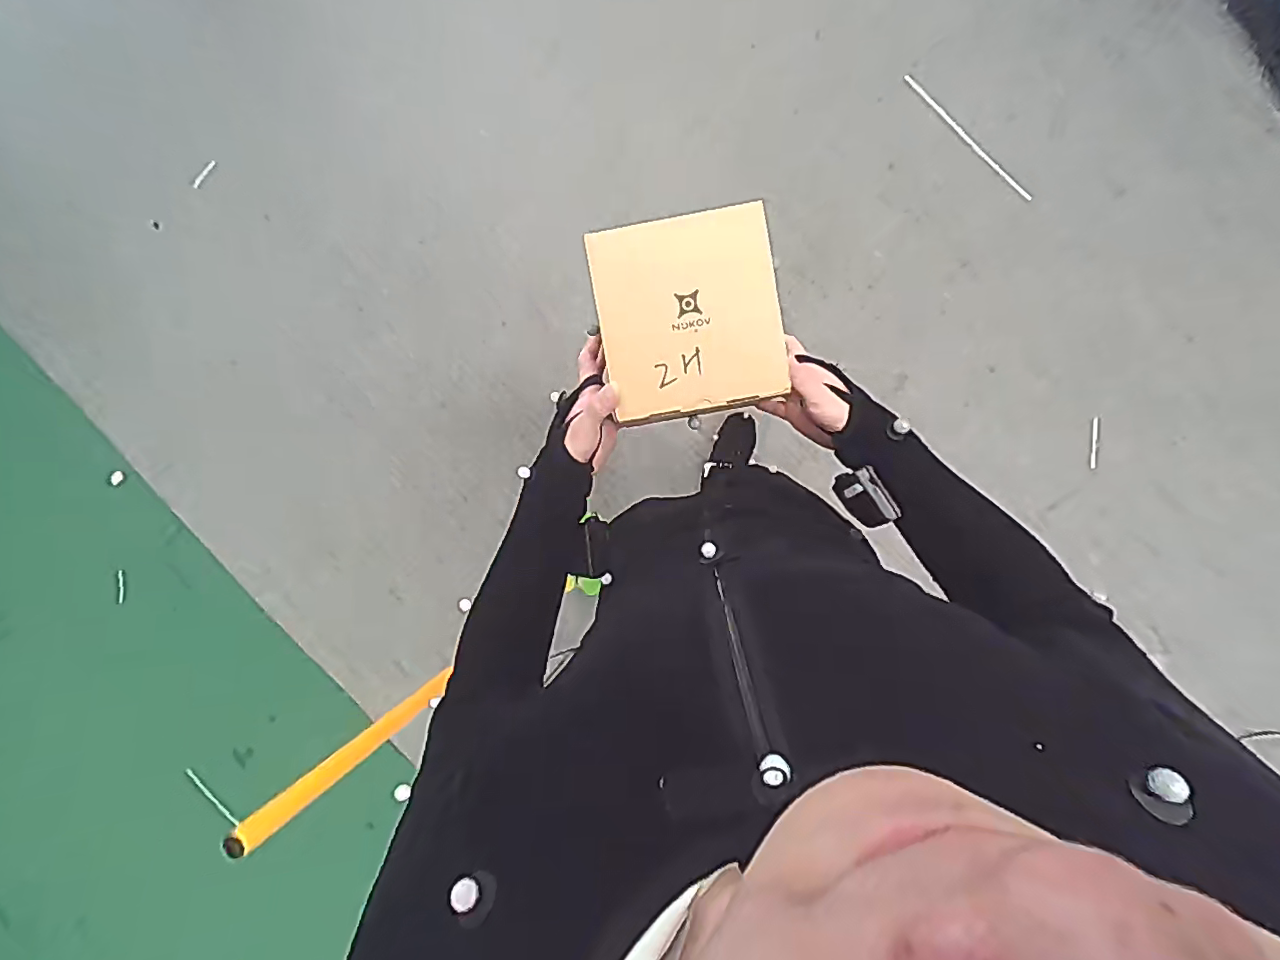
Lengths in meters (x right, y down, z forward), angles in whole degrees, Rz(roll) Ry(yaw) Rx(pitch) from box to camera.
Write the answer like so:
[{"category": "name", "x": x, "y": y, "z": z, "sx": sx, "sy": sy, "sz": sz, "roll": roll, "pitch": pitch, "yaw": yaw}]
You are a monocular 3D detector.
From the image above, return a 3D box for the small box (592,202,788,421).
[{"category": "small box", "x": 0.047, "y": -0.163, "z": 0.579, "sx": 0.168, "sy": 0.176, "sz": 0.179, "roll": -9, "pitch": 94, "yaw": 2}]

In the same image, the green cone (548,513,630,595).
[{"category": "green cone", "x": -0.174, "y": 0.244, "z": 1.498, "sx": 0.200, "sy": 0.368, "sz": 0.202, "roll": -42, "pitch": 91, "yaw": 8}]
